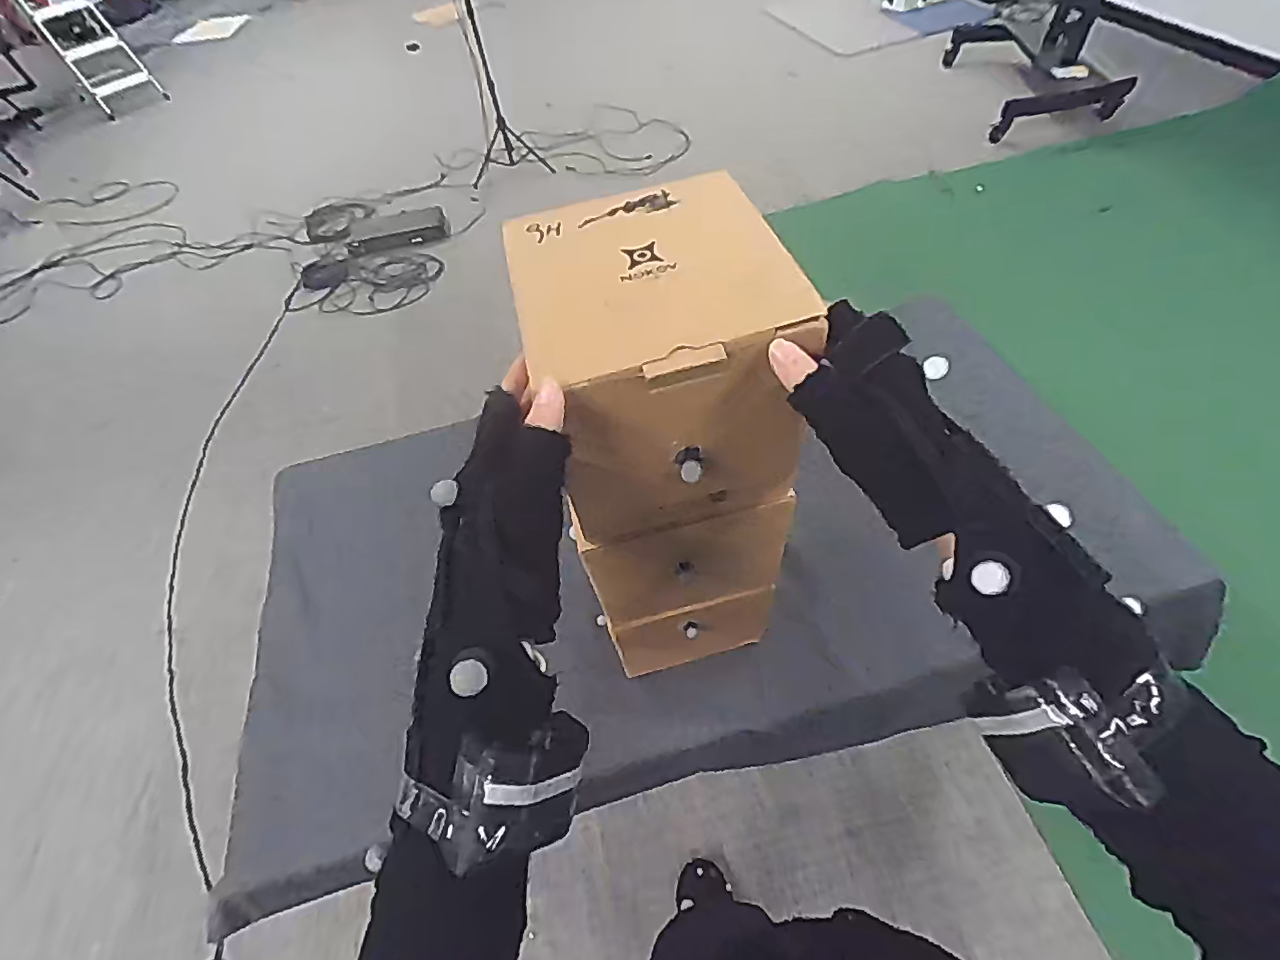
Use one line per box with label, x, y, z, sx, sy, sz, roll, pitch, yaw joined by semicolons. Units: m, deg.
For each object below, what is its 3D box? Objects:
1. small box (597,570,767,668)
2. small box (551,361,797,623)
small box;0.038;0.112;0.662;0.179;0.176;0.168;-14;56;-4
small box;0.026;0.017;0.528;0.179;0.176;0.168;-16;56;-5
